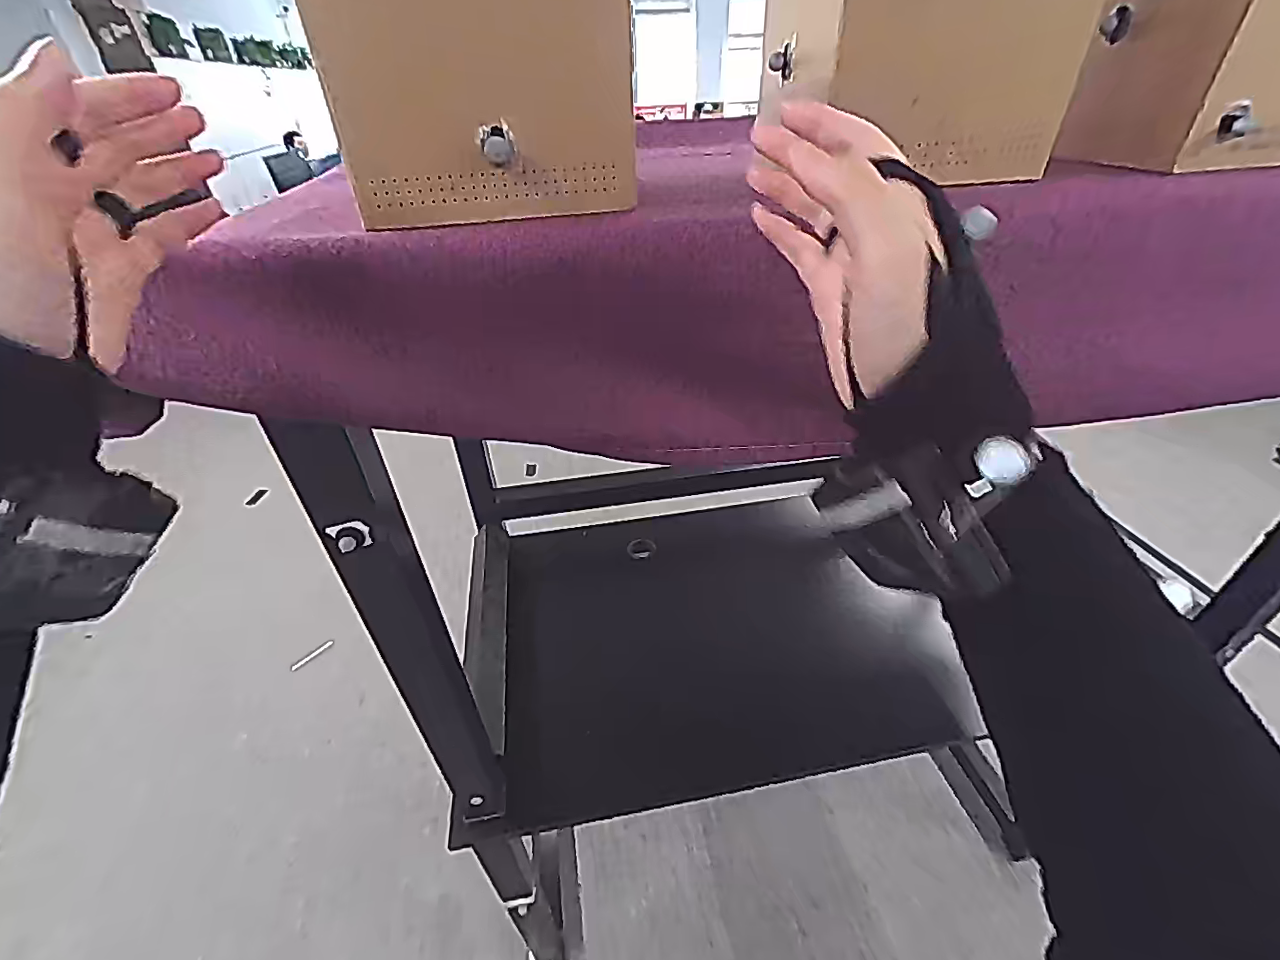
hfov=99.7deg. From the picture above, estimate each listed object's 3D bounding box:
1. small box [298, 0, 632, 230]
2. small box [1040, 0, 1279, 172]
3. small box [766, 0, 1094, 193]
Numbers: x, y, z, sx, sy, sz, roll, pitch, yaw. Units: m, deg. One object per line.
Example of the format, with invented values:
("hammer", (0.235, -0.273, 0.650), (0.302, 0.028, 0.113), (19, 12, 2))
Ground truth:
("small box", (-0.105, -0.274, 0.358), (0.179, 0.176, 0.168), (-10, 36, -12))
("small box", (0.457, -0.347, 0.428), (0.168, 0.176, 0.179), (-7, 35, -7))
("small box", (0.201, -0.322, 0.407), (0.179, 0.176, 0.168), (-5, 36, -4))
